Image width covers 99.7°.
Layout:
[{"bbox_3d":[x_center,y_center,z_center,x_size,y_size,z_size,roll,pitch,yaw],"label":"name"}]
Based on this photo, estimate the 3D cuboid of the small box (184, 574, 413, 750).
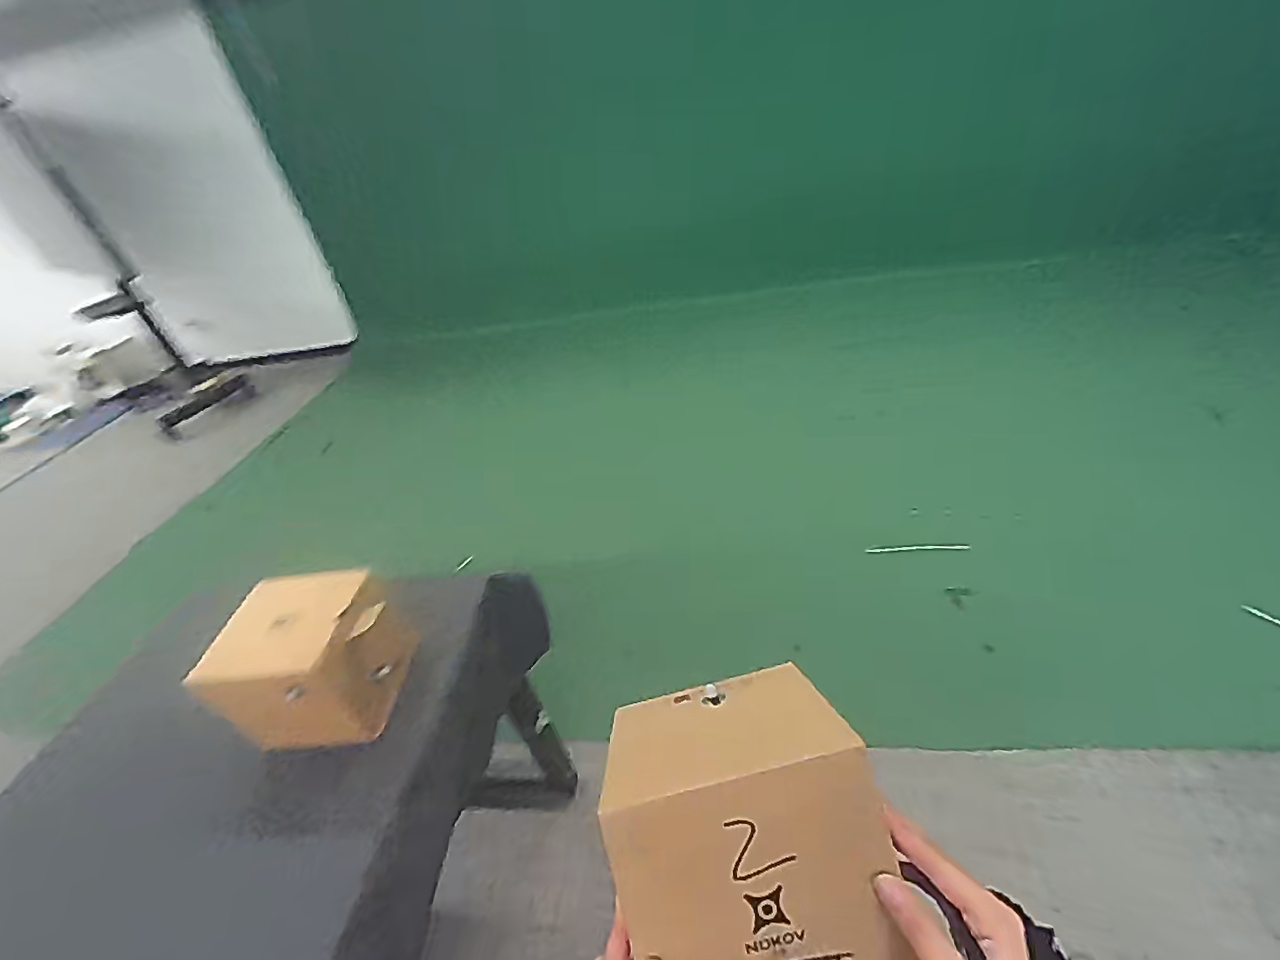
[{"bbox_3d":[-0.455,0.257,0.755,0.179,0.176,0.168,-8,37,6],"label":"small box"}]
